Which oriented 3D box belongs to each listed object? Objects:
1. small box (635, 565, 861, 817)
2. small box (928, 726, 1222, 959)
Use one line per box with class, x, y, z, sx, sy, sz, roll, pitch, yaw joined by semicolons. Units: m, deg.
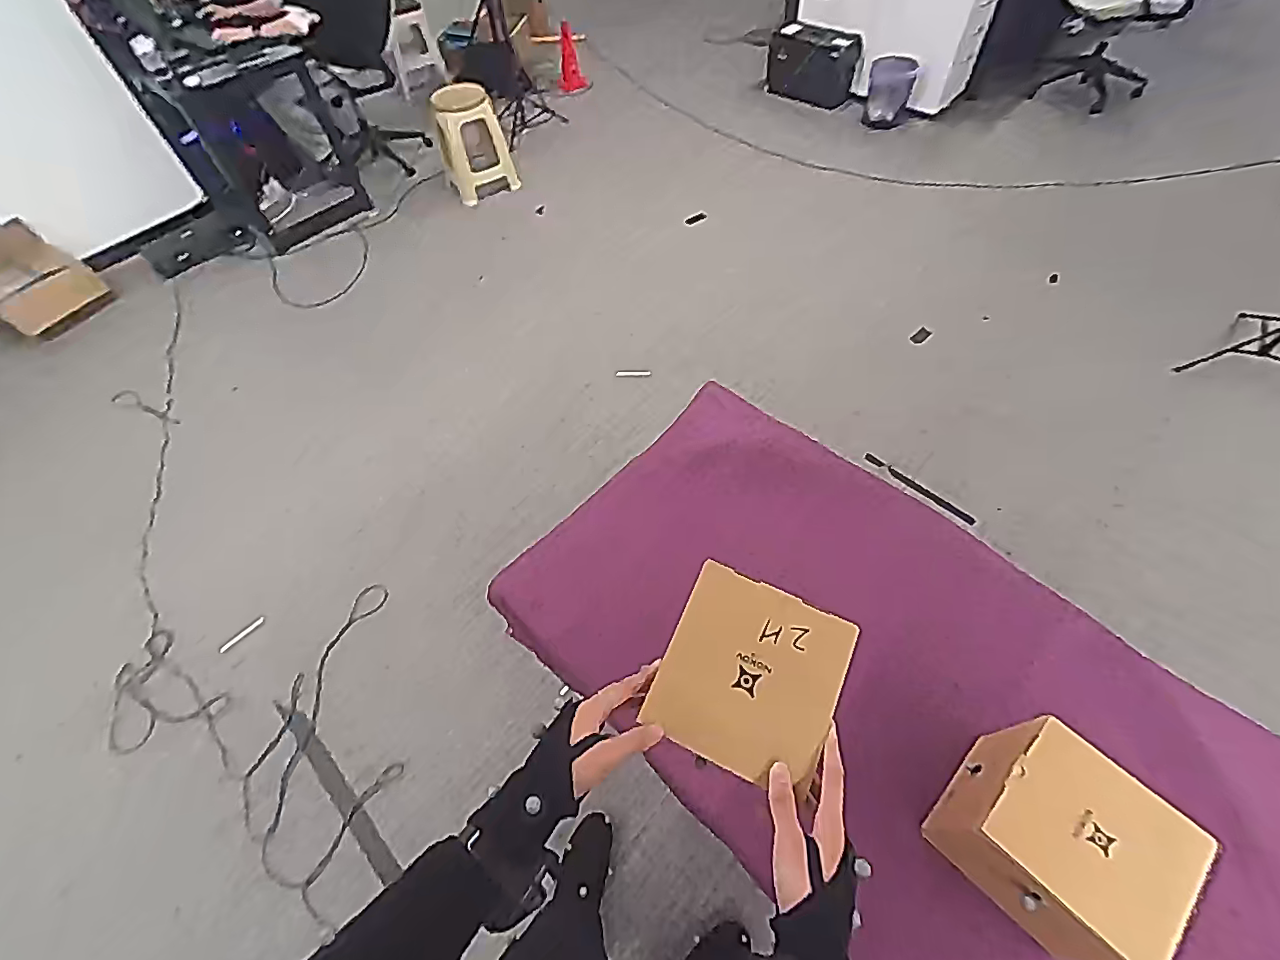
small box;0.109;0.220;0.586;0.168;0.176;0.179;24;70;11
small box;0.479;0.422;0.625;0.168;0.176;0.179;-39;61;-20
